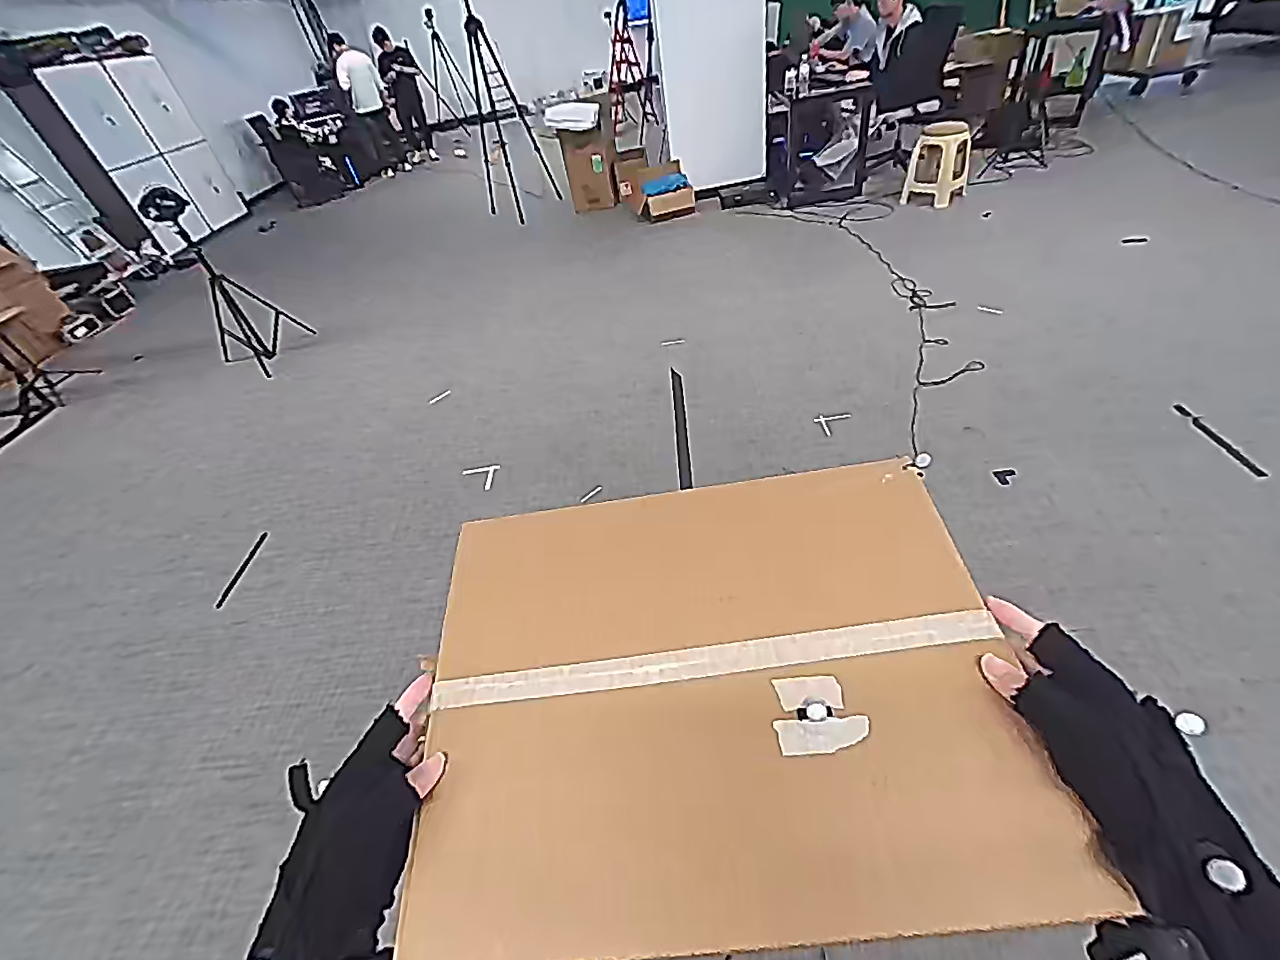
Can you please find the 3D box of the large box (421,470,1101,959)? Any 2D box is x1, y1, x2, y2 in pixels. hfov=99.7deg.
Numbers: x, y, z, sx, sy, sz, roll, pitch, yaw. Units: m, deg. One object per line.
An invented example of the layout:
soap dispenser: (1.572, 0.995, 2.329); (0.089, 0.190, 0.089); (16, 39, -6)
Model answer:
large box: (0.070, 0.230, 0.517); (0.408, 0.320, 0.320); (-8, 52, 3)
